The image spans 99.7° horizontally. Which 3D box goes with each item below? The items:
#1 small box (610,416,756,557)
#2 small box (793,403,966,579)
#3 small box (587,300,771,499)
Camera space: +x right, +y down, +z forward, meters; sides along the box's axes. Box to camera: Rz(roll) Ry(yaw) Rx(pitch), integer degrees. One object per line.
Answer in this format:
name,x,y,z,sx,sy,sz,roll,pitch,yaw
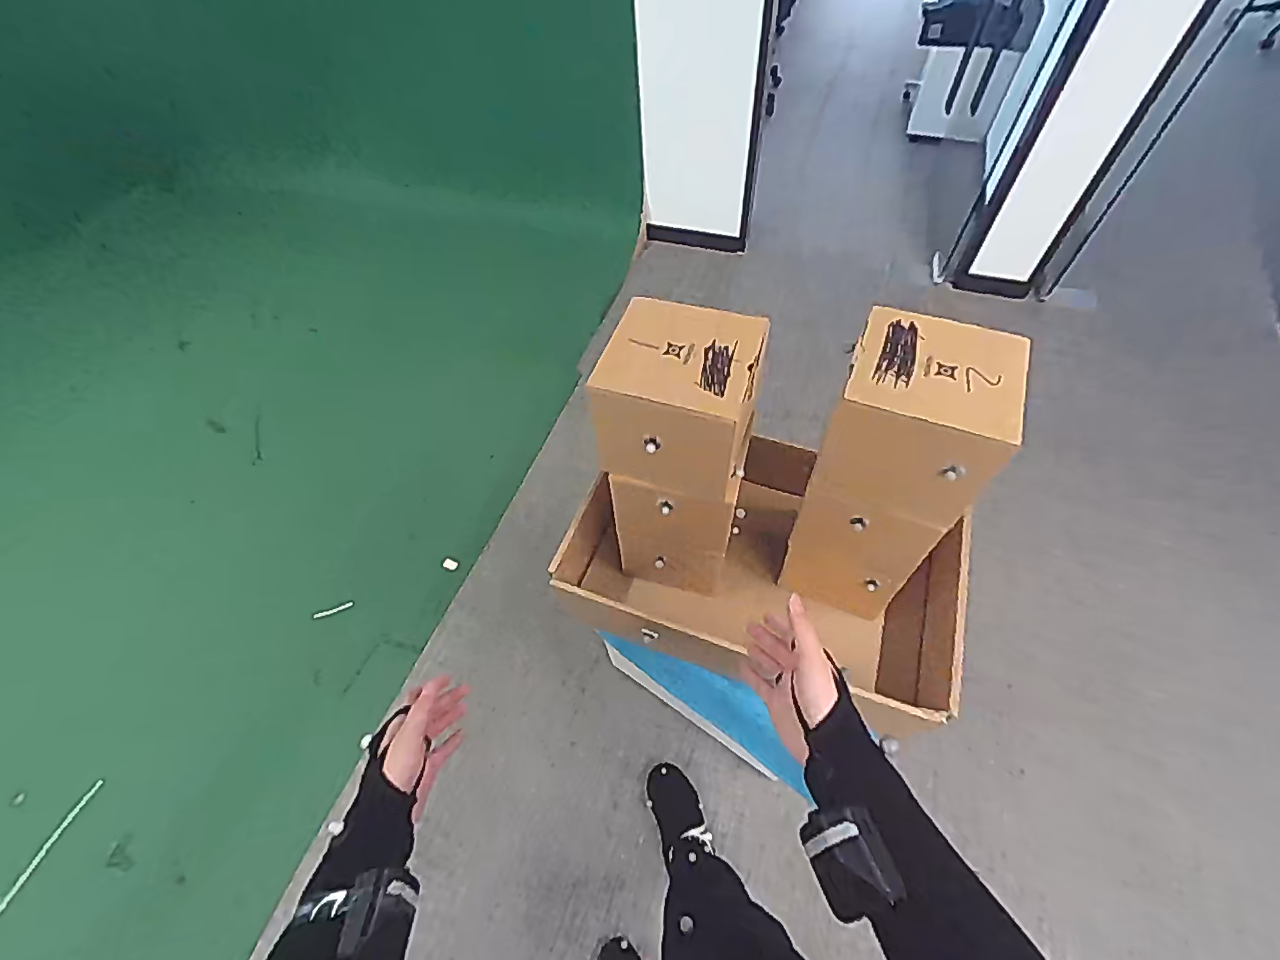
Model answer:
small box,0.067,-0.001,0.822,0.179,0.176,0.168,13,58,11
small box,0.338,0.021,0.788,0.179,0.176,0.168,19,60,16
small box,0.053,-0.097,0.689,0.179,0.176,0.168,15,58,14
